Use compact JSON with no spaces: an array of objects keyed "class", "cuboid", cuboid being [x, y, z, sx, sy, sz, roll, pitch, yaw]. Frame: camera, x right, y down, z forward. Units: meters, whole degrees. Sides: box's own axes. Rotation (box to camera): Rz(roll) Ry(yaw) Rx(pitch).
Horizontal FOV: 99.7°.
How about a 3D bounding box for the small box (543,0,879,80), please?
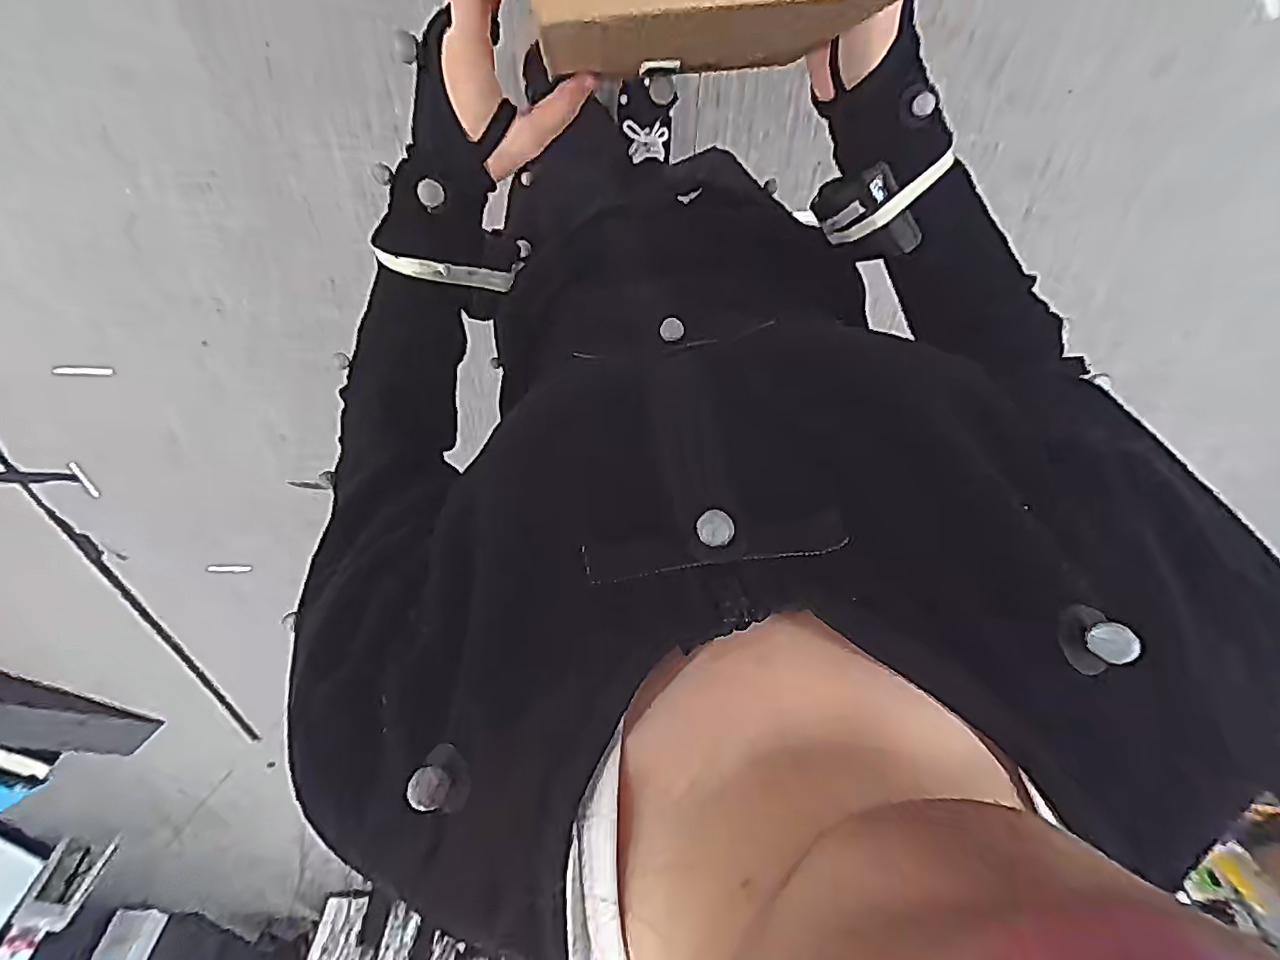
[{"class":"small box","cuboid":[0.026,-0.314,0.250,0.168,0.176,0.179,-8,119,-1]}]
